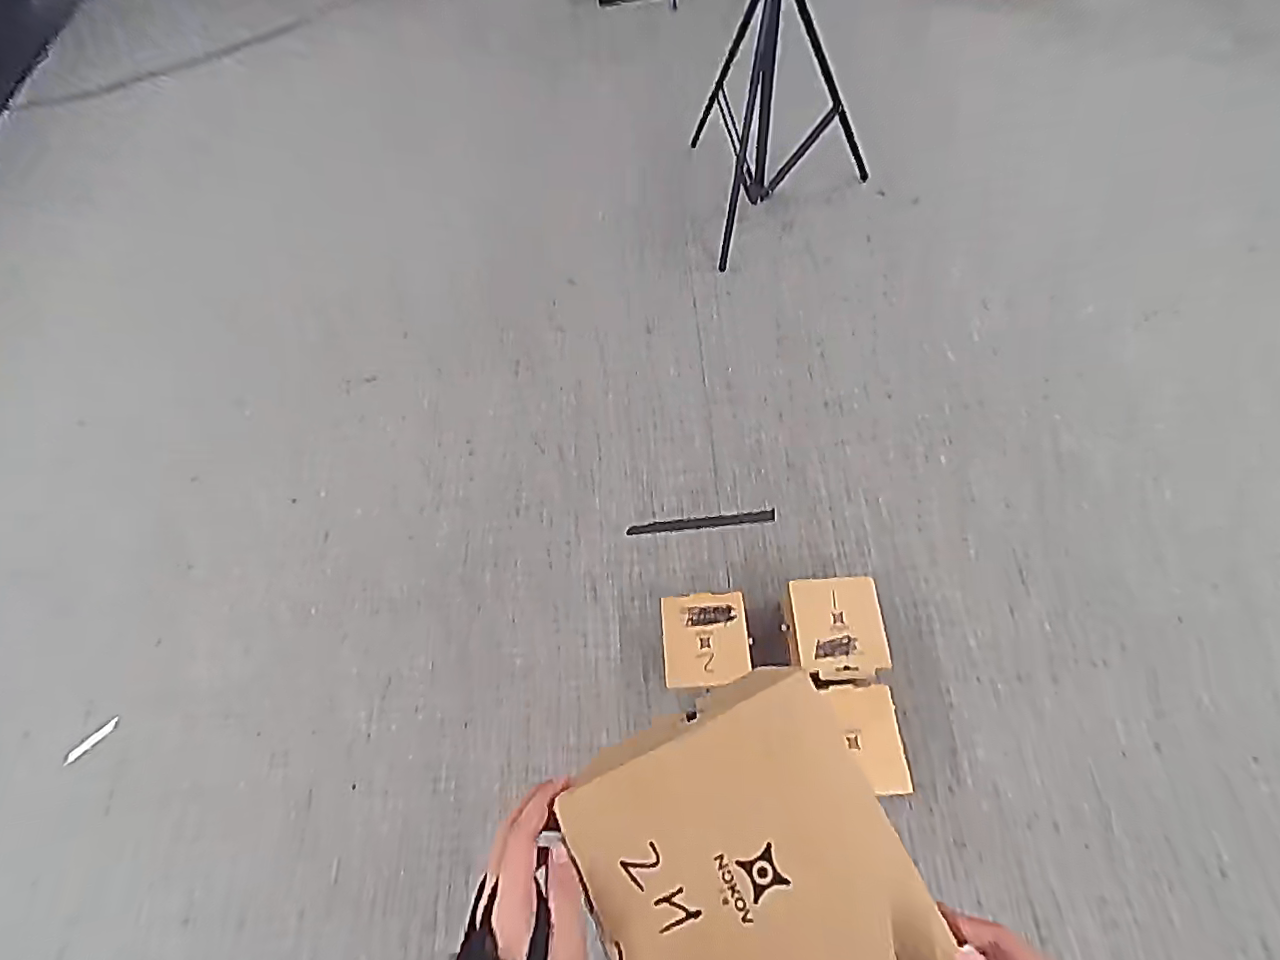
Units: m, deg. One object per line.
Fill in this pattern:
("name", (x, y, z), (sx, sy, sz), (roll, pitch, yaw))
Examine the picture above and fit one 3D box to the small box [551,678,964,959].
("small box", (0.061, 0.247, 0.369), (0.179, 0.176, 0.168), (-25, 71, -6))
